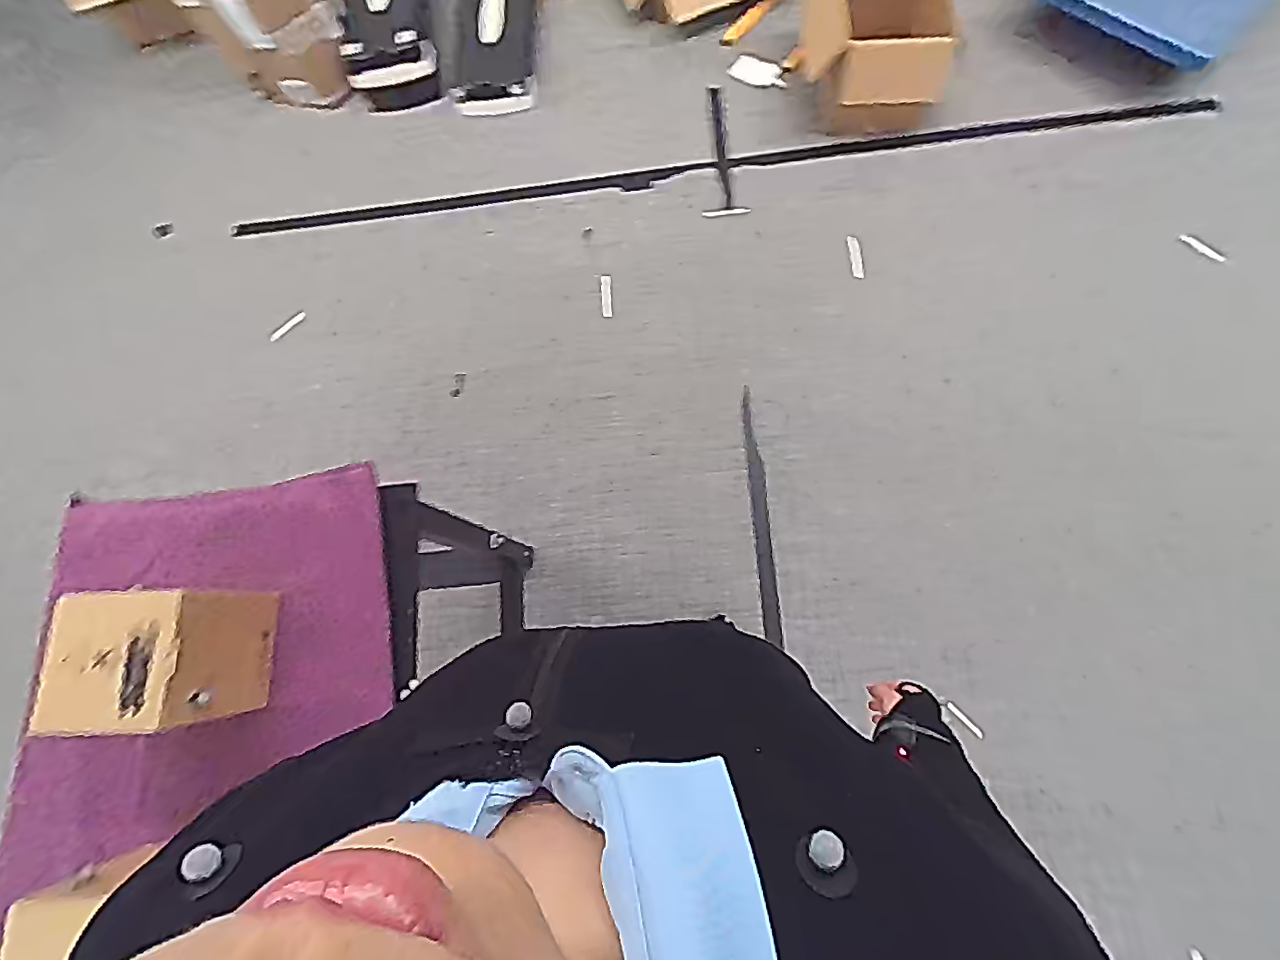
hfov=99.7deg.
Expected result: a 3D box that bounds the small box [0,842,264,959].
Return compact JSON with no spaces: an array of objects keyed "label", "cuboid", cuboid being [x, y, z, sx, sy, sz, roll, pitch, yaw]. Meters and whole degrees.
[{"label":"small box","cuboid":[-0.604,0.565,0.652,0.179,0.176,0.168,-7,76,3]}]
